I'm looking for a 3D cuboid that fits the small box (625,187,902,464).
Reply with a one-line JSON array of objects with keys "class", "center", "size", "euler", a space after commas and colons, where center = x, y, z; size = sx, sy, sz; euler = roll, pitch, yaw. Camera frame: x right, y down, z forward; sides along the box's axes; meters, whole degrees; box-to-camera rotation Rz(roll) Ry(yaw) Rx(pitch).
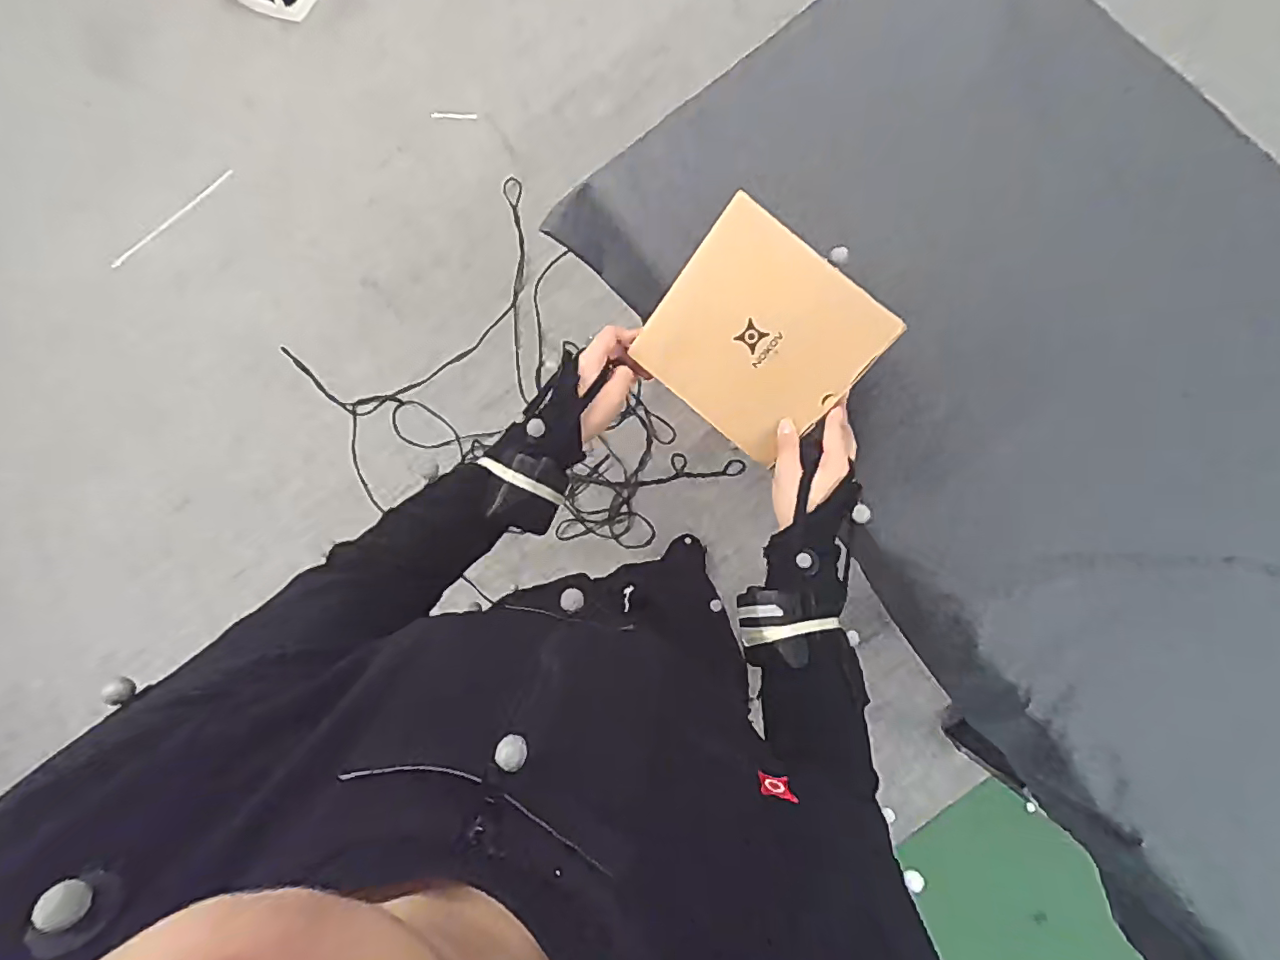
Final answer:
[{"class": "small box", "center": [0.119, -0.146, 0.533], "size": [0.179, 0.176, 0.168], "euler": [40, 115, 2]}]
